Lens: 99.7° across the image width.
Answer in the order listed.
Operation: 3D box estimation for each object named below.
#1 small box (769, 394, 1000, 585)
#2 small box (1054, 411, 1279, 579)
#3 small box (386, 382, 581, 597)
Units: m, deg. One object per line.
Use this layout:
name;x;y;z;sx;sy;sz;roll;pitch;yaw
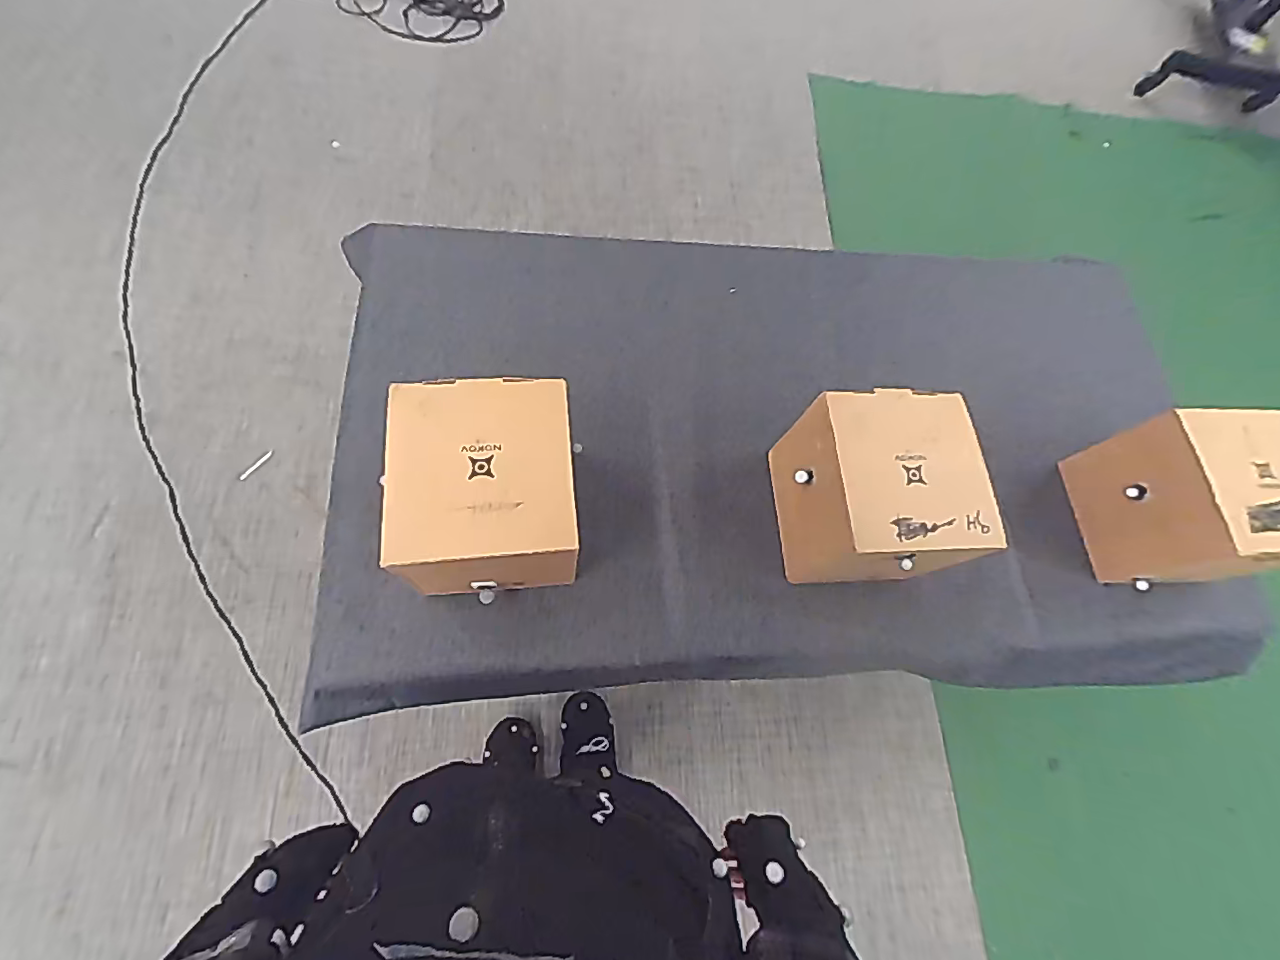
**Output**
small box;0.264;0.018;0.632;0.168;0.176;0.179;-1;69;-8
small box;0.687;0.029;0.689;0.168;0.176;0.179;0;68;-8
small box;-0.153;0.016;0.569;0.168;0.176;0.179;-4;70;-9
